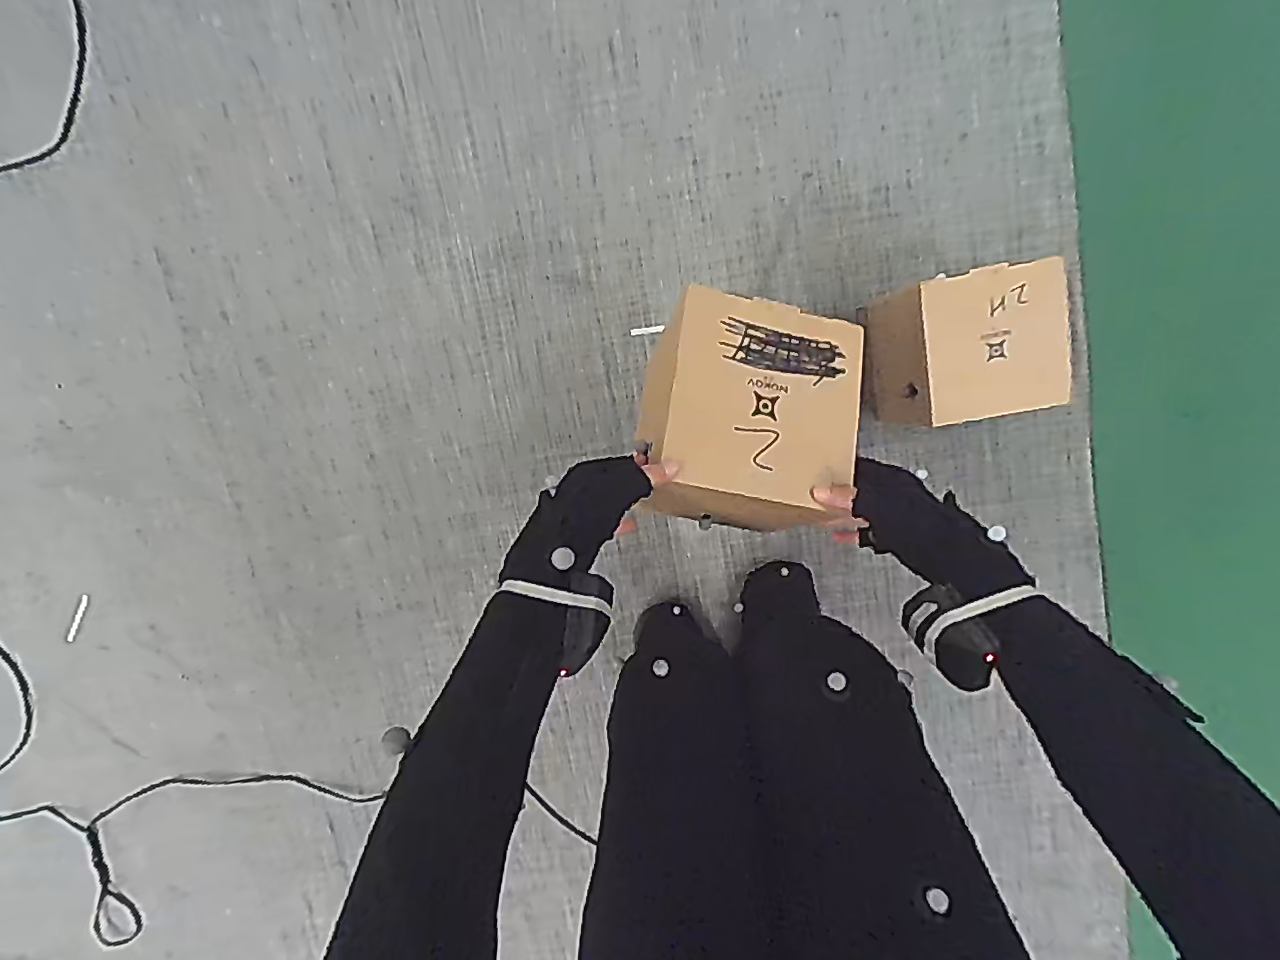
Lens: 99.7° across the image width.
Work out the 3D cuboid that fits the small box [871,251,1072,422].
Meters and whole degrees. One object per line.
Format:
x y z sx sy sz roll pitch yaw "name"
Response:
0.423 -0.179 0.713 0.168 0.176 0.179 -10 98 4 "small box"
